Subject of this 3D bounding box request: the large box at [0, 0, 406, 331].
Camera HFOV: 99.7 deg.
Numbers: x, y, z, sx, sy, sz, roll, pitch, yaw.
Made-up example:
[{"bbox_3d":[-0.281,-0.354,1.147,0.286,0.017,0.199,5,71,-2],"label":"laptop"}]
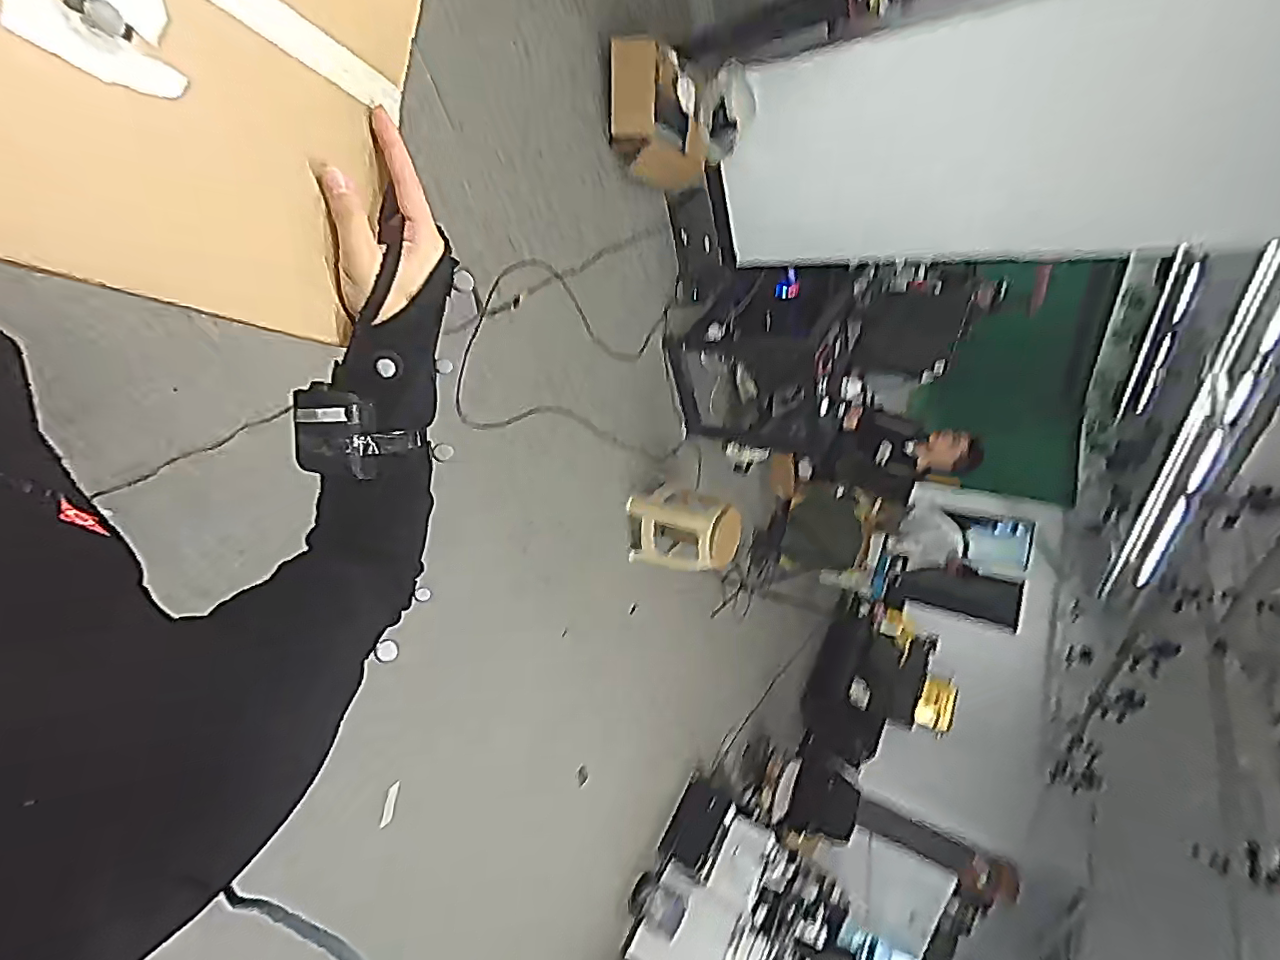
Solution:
[{"bbox_3d":[-0.395,-0.291,0.263,0.408,0.320,0.320,3,105,-59],"label":"large box"}]
